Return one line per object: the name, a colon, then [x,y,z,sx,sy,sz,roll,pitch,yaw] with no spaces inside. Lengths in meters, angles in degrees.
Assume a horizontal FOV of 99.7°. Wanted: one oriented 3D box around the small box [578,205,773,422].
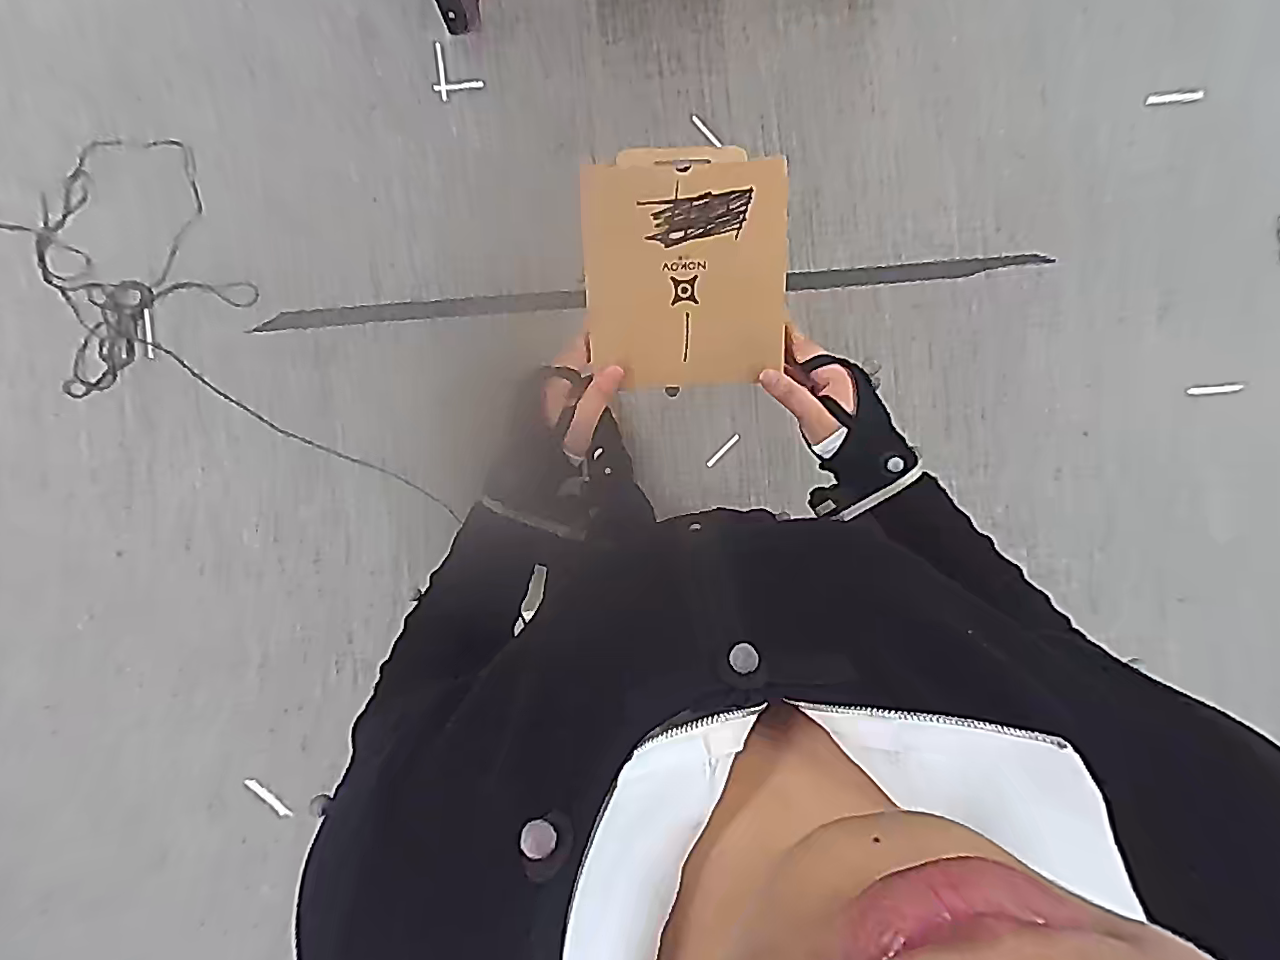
small box: [0.029,-0.156,0.538,0.168,0.176,0.179,-3,104,-1]
